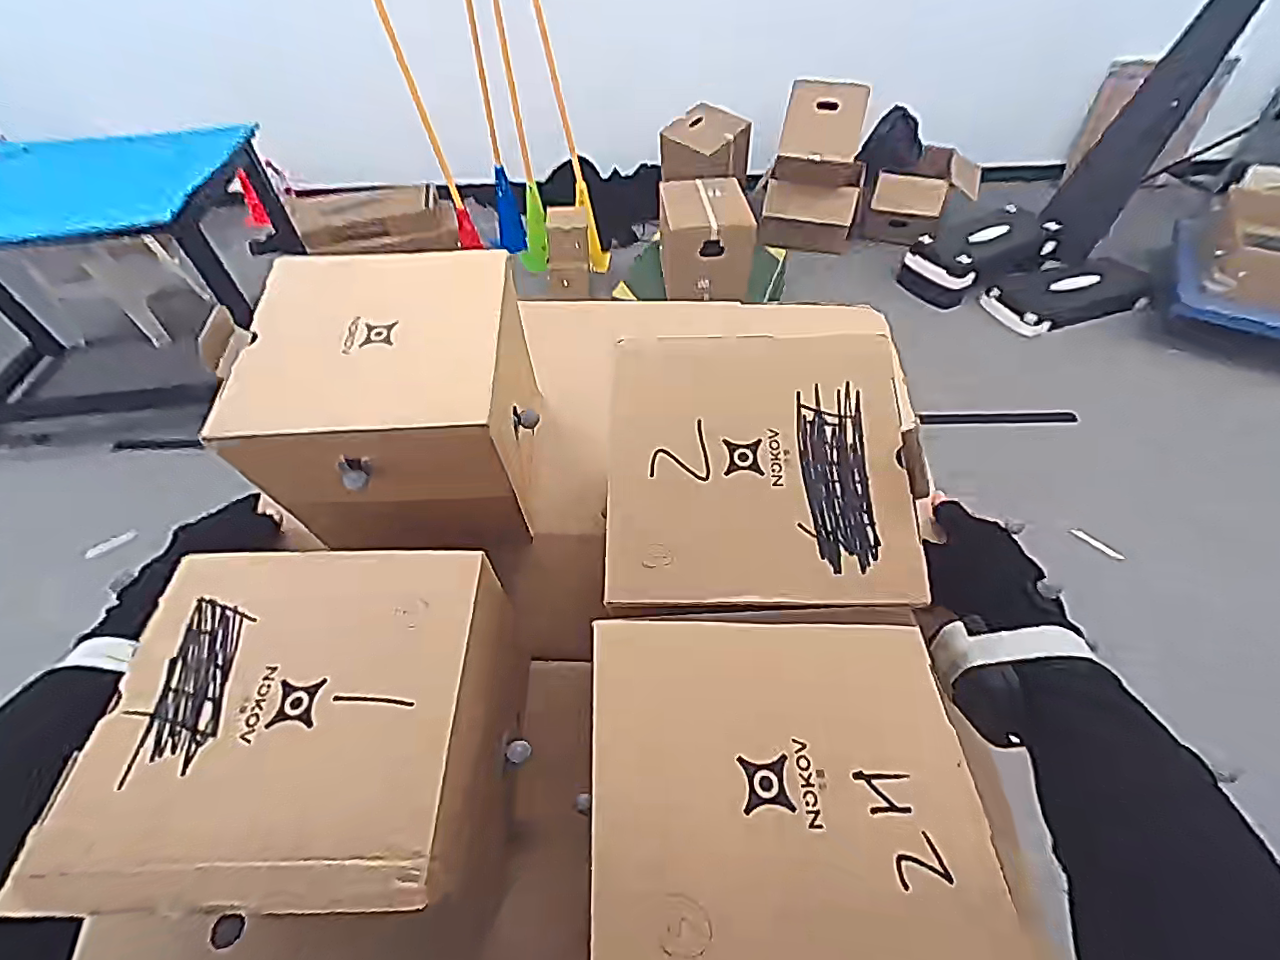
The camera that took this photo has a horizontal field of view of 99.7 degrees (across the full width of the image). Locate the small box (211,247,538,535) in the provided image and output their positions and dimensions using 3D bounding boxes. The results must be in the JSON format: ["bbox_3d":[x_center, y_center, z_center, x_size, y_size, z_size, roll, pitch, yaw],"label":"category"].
[{"bbox_3d":[-0.184,-0.064,0.446,0.179,0.176,0.168,-3,60,0],"label":"small box"}]
